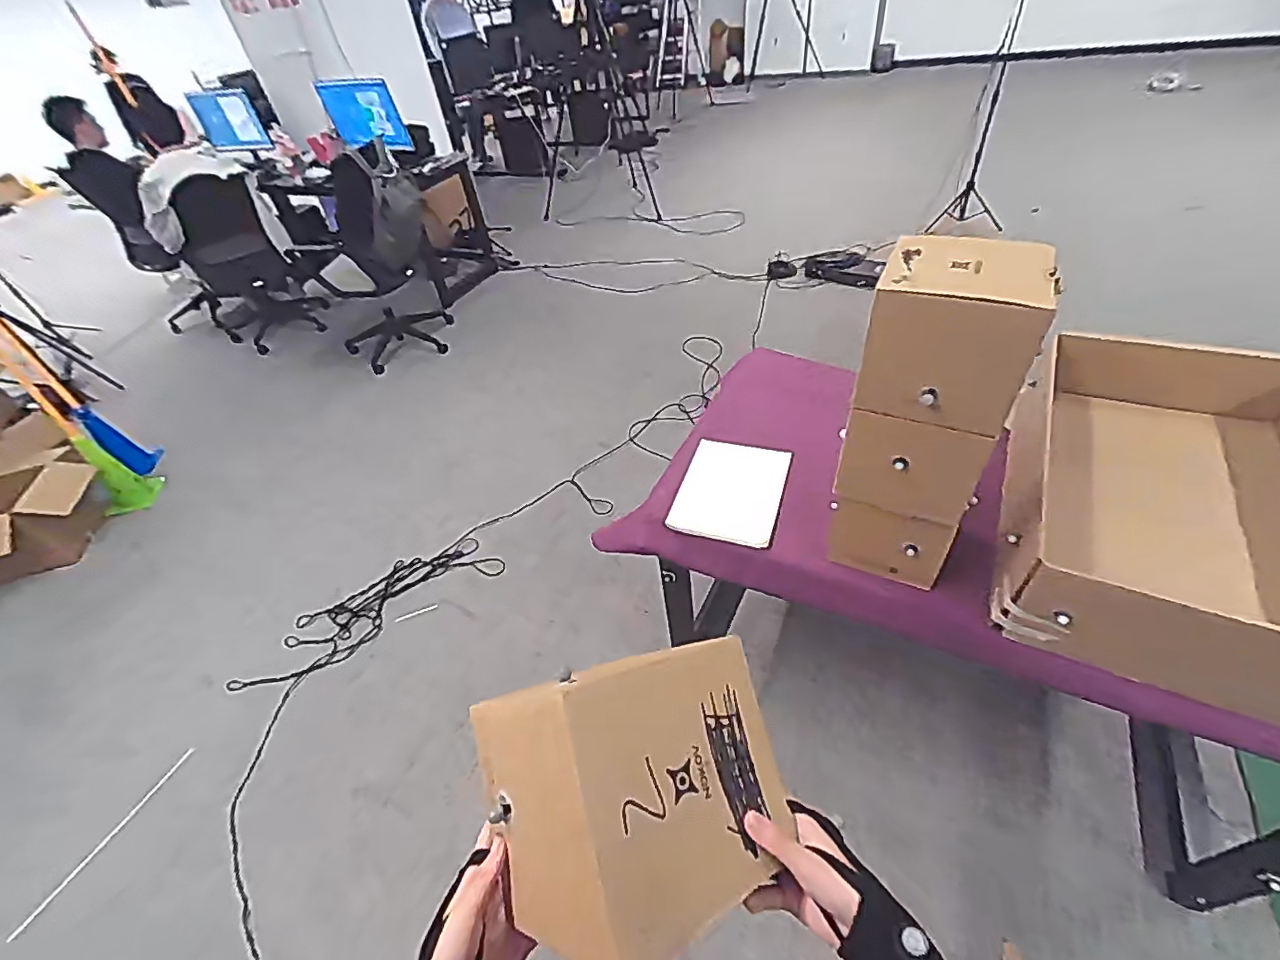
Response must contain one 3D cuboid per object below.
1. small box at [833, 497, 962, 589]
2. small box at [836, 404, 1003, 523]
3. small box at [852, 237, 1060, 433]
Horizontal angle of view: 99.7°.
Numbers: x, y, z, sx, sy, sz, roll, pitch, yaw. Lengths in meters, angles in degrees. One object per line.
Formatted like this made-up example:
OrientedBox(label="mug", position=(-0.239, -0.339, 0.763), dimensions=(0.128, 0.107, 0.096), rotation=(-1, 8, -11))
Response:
OrientedBox(label="small box", position=(0.431, 0.051, 0.903), dimensions=(0.168, 0.176, 0.179), rotation=(17, 48, 24))
OrientedBox(label="small box", position=(0.403, -0.062, 0.787), dimensions=(0.179, 0.176, 0.168), rotation=(17, 48, 25))
OrientedBox(label="small box", position=(0.385, -0.181, 0.675), dimensions=(0.179, 0.176, 0.168), rotation=(17, 48, 24))
